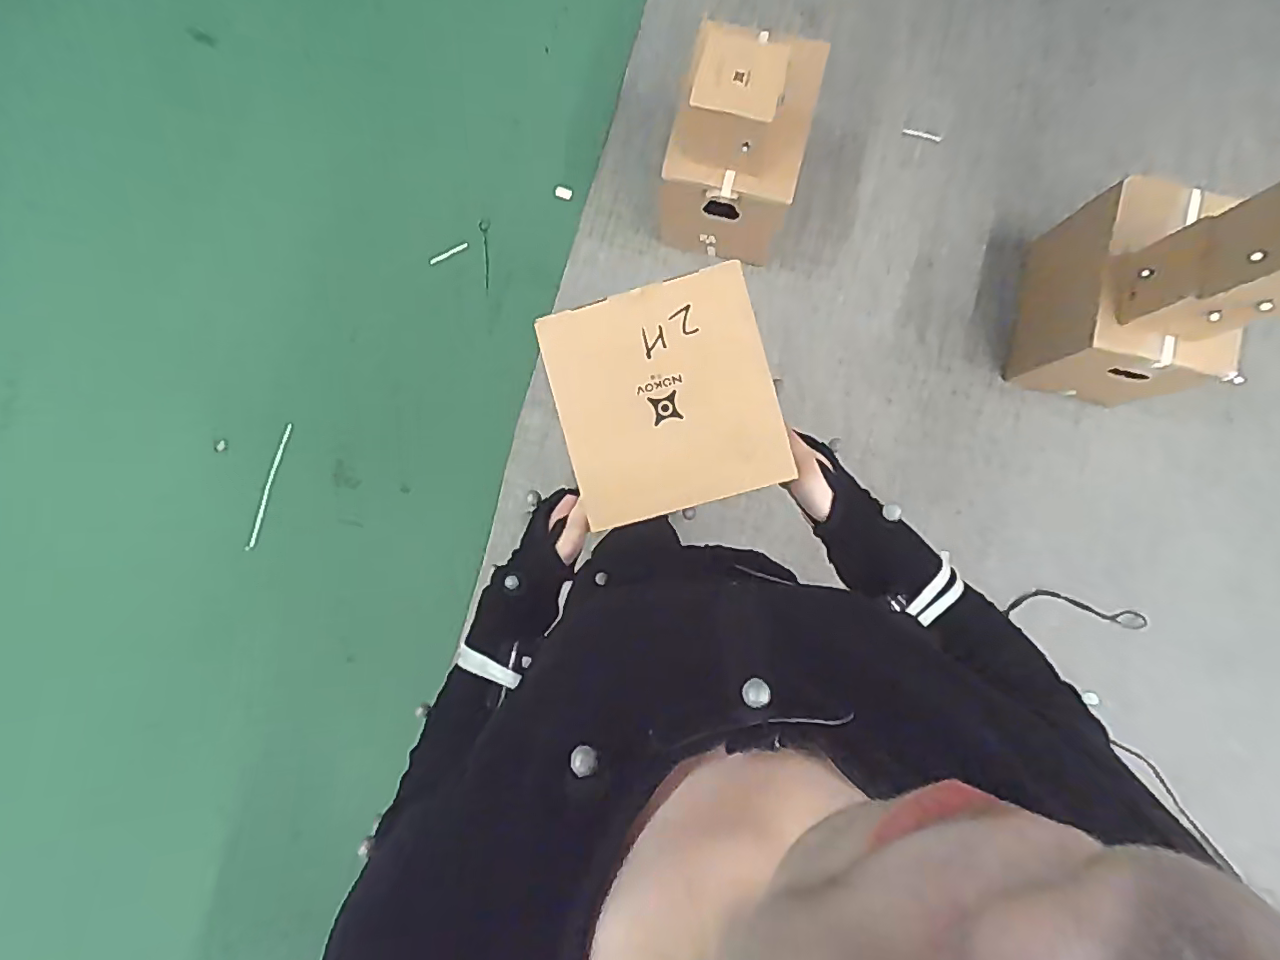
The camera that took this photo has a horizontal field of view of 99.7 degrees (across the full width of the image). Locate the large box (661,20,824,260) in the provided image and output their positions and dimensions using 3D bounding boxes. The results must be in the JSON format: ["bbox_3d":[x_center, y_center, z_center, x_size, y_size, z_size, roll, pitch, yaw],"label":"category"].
[{"bbox_3d":[0.246,-0.849,1.401,0.320,0.320,0.408,14,86,3],"label":"large box"}]

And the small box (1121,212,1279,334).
[{"bbox_3d":[1.150,-0.412,1.102,0.179,0.176,0.168,12,88,4],"label":"small box"}]

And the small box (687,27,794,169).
[{"bbox_3d":[0.206,-0.801,1.153,0.179,0.176,0.168,16,86,5],"label":"small box"}]

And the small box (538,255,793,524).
[{"bbox_3d":[0.026,-0.071,0.494,0.168,0.176,0.179,-15,90,4],"label":"small box"}]
